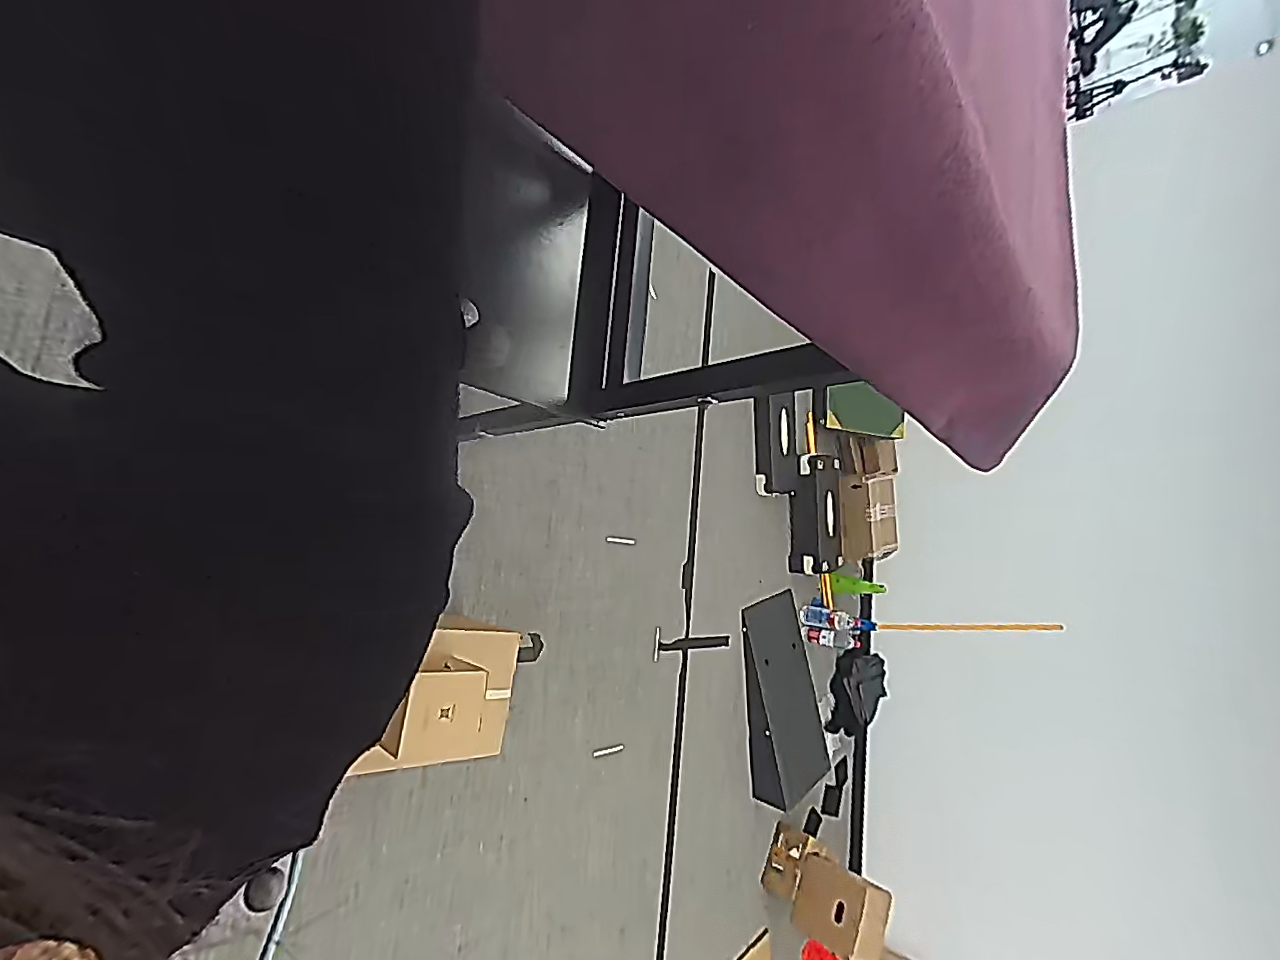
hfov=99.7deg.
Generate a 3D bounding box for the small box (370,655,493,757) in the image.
[{"bbox_3d":[-0.449,0.476,1.166,0.179,0.176,0.168,18,74,-44],"label":"small box"}]

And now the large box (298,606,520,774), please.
[{"bbox_3d":[-0.582,0.503,1.381,0.408,0.320,0.320,18,77,-45],"label":"large box"}]
